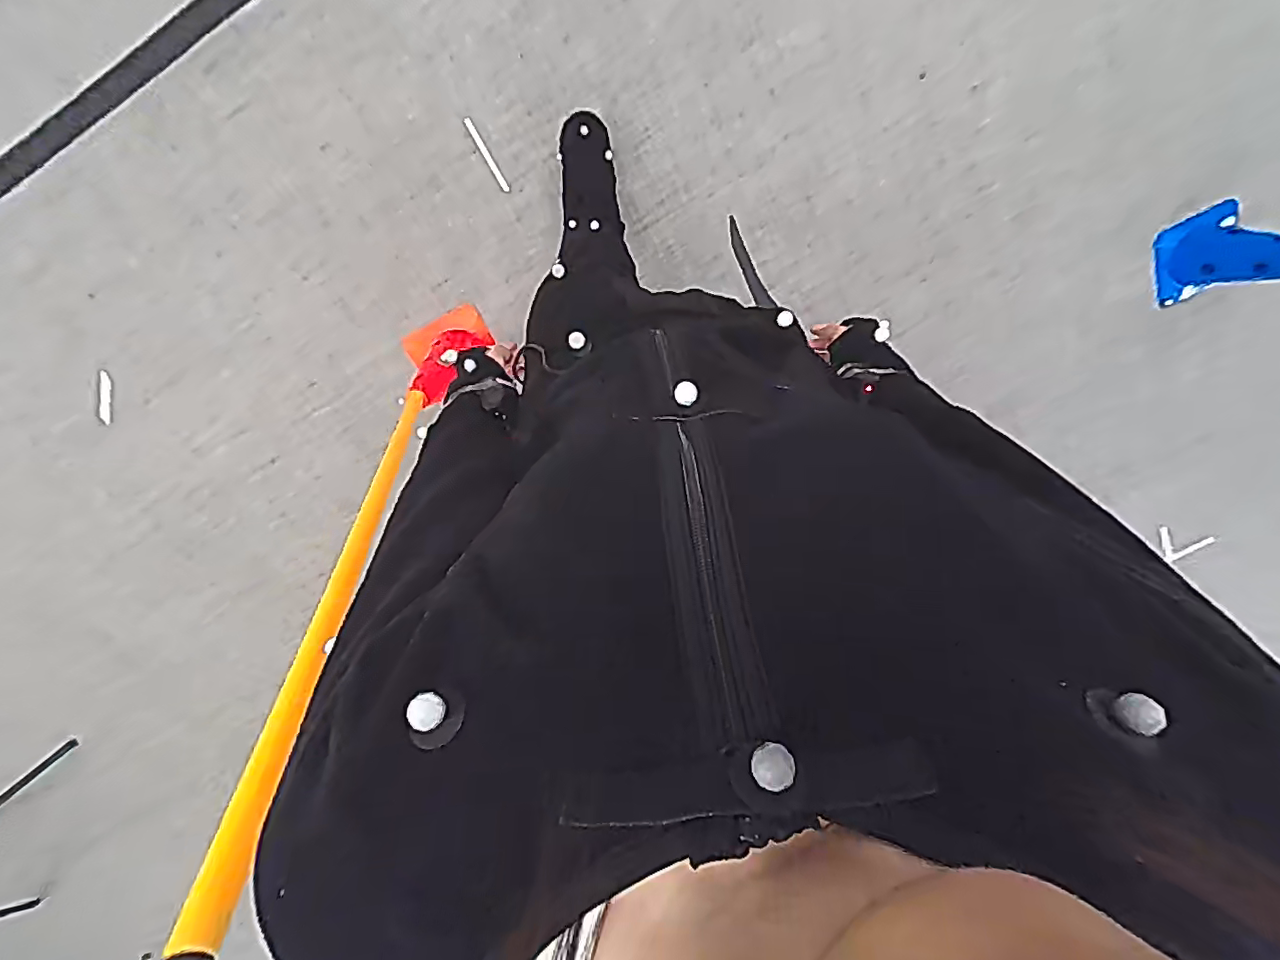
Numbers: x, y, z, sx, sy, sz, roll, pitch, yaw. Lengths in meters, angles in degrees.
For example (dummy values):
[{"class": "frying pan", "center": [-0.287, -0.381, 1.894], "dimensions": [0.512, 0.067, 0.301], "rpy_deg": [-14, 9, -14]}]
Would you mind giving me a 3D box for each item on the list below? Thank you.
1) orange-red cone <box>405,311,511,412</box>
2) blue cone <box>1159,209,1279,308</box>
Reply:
[{"class": "orange-red cone", "center": [-0.424, -0.213, 1.145], "dimensions": [0.198, 0.360, 0.199], "rpy_deg": [-25, 113, 6]}, {"class": "blue cone", "center": [1.402, -0.483, 1.199], "dimensions": [0.193, 0.380, 0.192], "rpy_deg": [-25, 114, 7]}]
